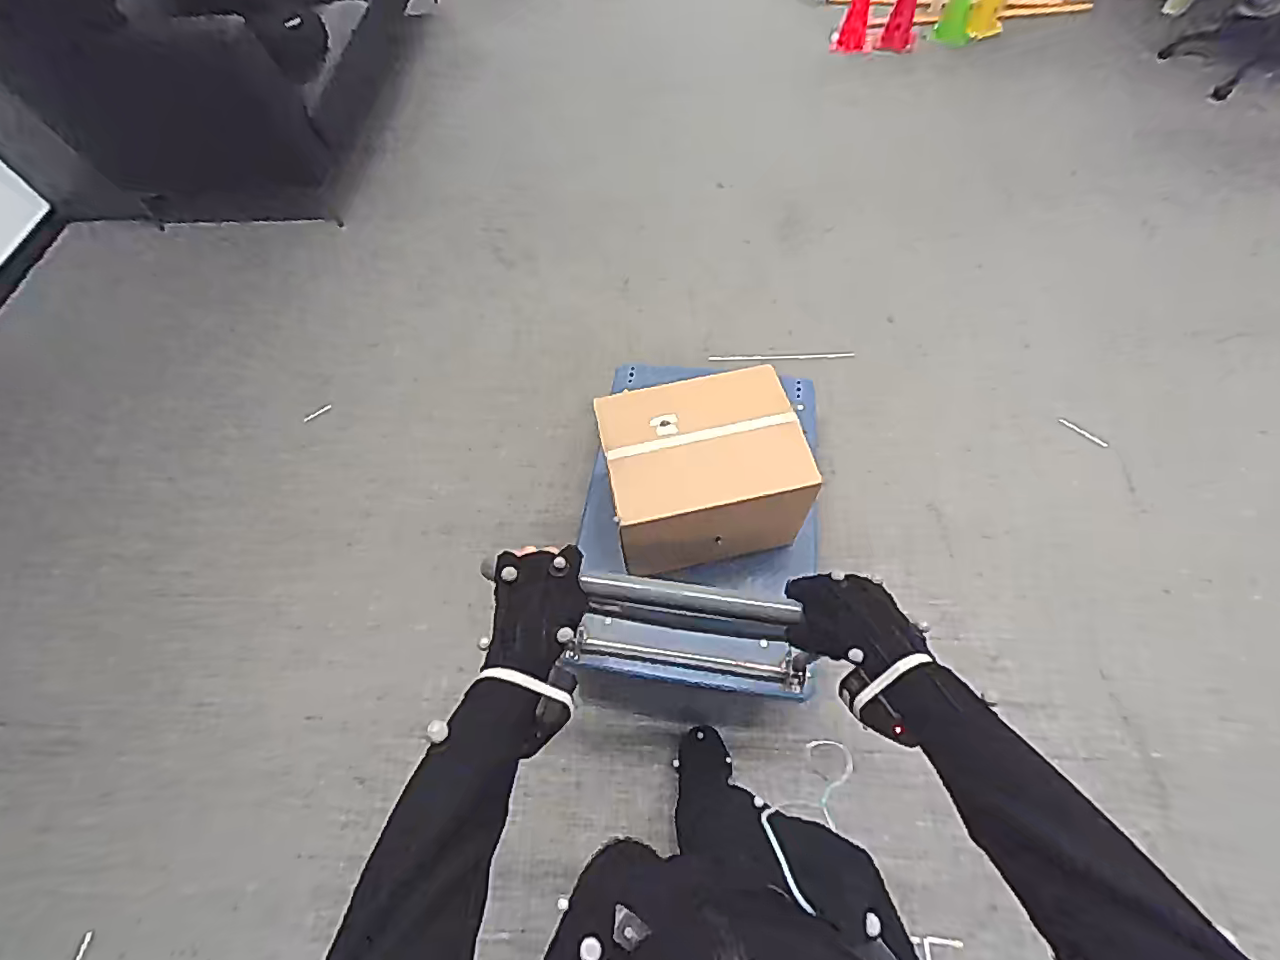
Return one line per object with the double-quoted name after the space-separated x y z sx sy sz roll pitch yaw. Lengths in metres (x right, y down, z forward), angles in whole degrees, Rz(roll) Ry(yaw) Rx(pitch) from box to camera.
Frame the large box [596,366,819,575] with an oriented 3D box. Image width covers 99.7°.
0.140 -0.011 1.251 0.408 0.320 0.320 -13 59 -2 "large box"
